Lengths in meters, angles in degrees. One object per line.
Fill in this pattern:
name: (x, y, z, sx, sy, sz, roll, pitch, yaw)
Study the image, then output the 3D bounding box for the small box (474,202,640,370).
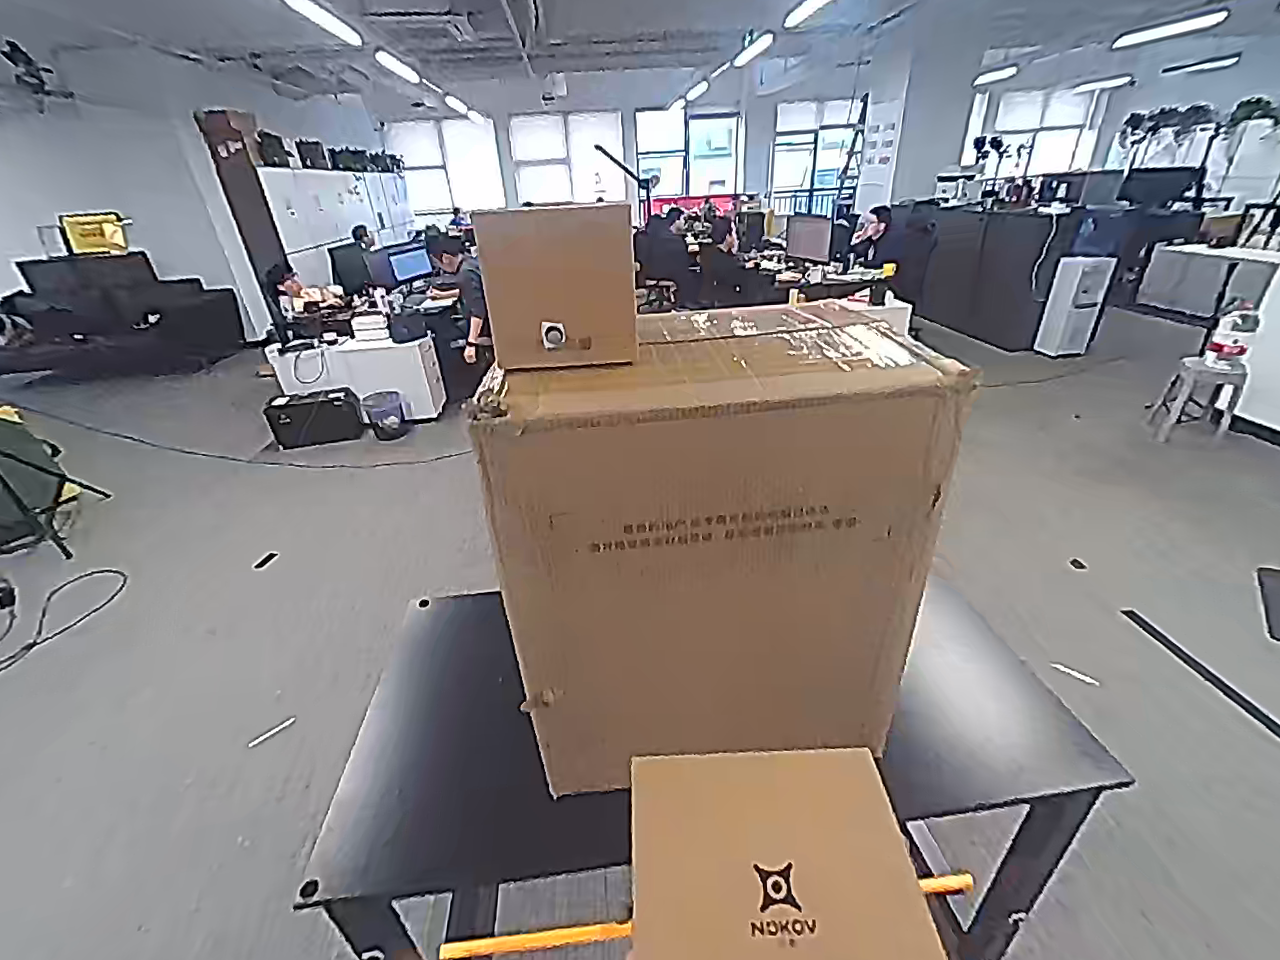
small box: (-0.091, -0.240, 0.659, 0.168, 0.176, 0.179, -5, 29, -3)

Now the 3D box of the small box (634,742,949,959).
small box: (0.081, 0.298, 0.348, 0.168, 0.176, 0.179, -3, 36, 1)
